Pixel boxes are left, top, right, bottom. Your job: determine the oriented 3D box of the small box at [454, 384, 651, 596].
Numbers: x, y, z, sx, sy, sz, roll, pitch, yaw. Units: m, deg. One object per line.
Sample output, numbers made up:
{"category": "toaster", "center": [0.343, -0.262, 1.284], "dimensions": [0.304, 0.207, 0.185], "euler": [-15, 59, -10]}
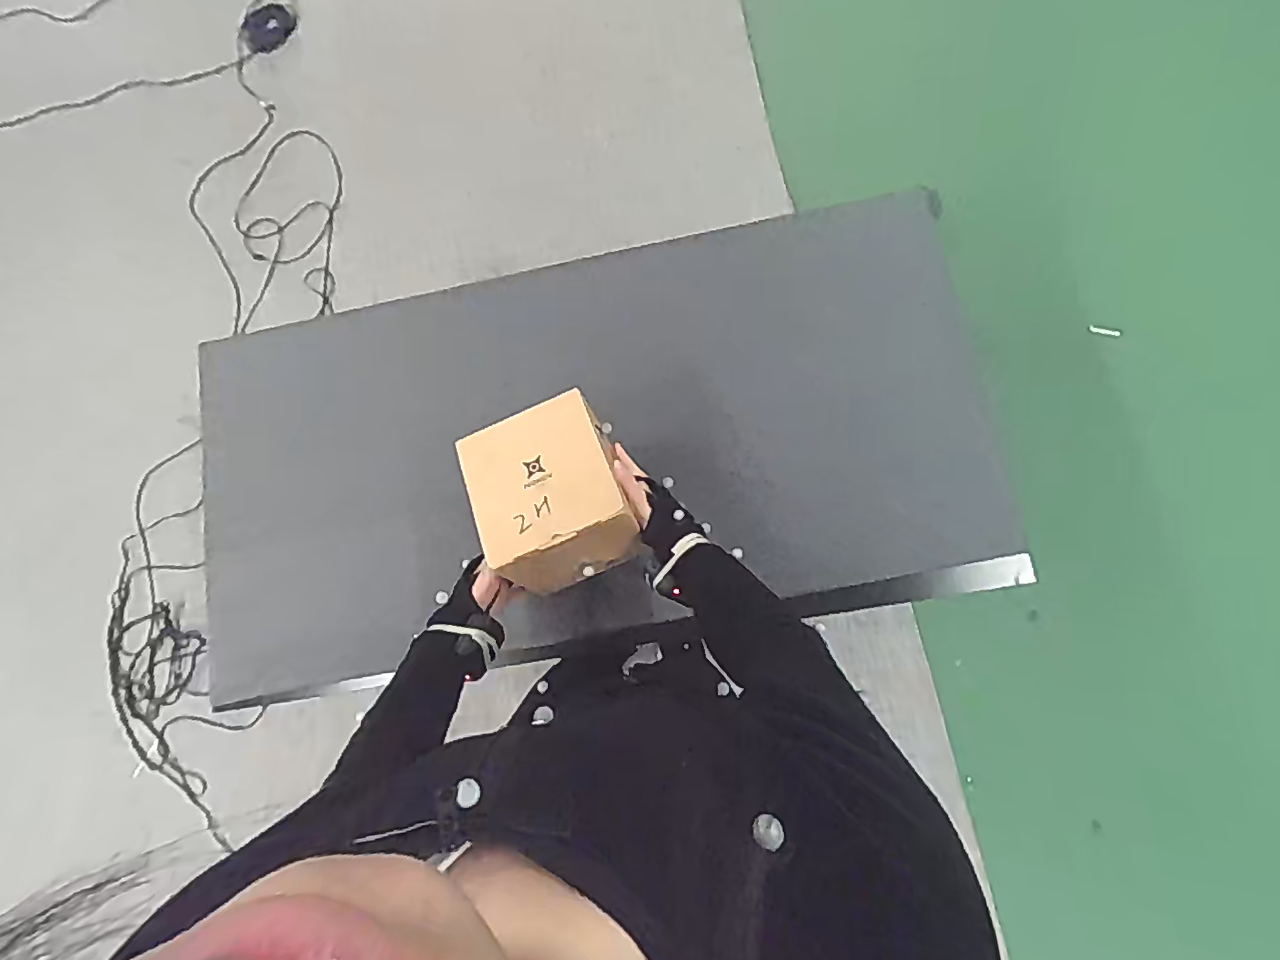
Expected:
{"category": "small box", "center": [-0.100, 0.021, 0.668], "dimensions": [0.168, 0.176, 0.179], "euler": [-25, 64, 1]}
